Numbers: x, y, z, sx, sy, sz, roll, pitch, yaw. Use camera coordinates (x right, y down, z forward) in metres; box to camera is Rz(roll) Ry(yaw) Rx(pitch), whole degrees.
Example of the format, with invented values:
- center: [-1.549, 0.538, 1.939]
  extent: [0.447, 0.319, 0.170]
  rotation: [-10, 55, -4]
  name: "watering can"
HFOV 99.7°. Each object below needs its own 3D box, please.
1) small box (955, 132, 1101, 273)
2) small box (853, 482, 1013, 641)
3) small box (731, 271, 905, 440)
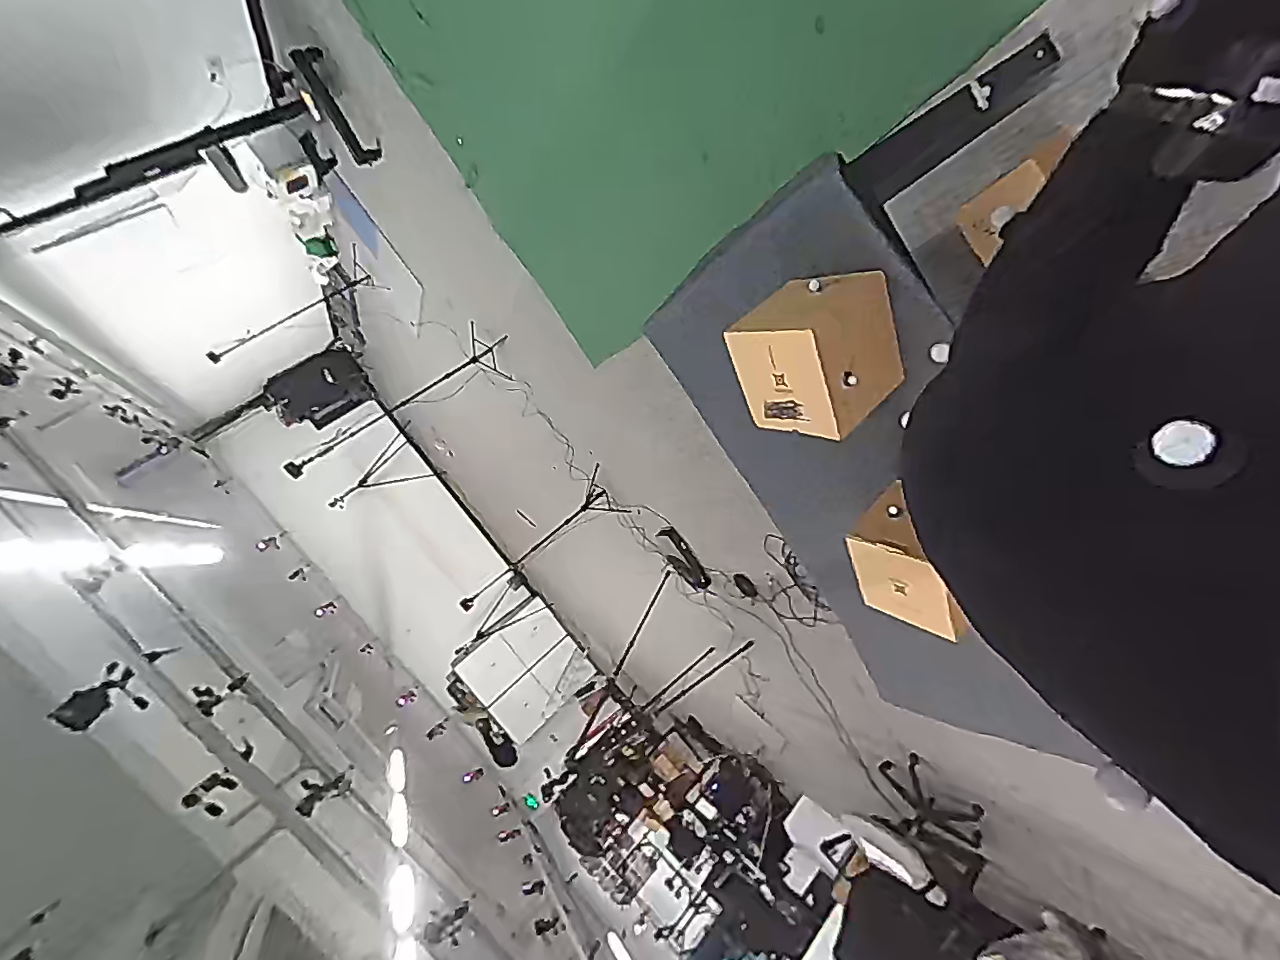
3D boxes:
- center: [0.813, -0.576, 1.126]
  extent: [0.168, 0.176, 0.179]
  rotation: [52, 156, -5]
  name: "small box"
- center: [0.495, 0.127, 0.910]
  extent: [0.168, 0.176, 0.179]
  rotation: [19, 143, 54]
  name: "small box"
- center: [0.273, -0.188, 0.815]
  extent: [0.168, 0.176, 0.179]
  rotation: [19, 143, 53]
  name: "small box"
